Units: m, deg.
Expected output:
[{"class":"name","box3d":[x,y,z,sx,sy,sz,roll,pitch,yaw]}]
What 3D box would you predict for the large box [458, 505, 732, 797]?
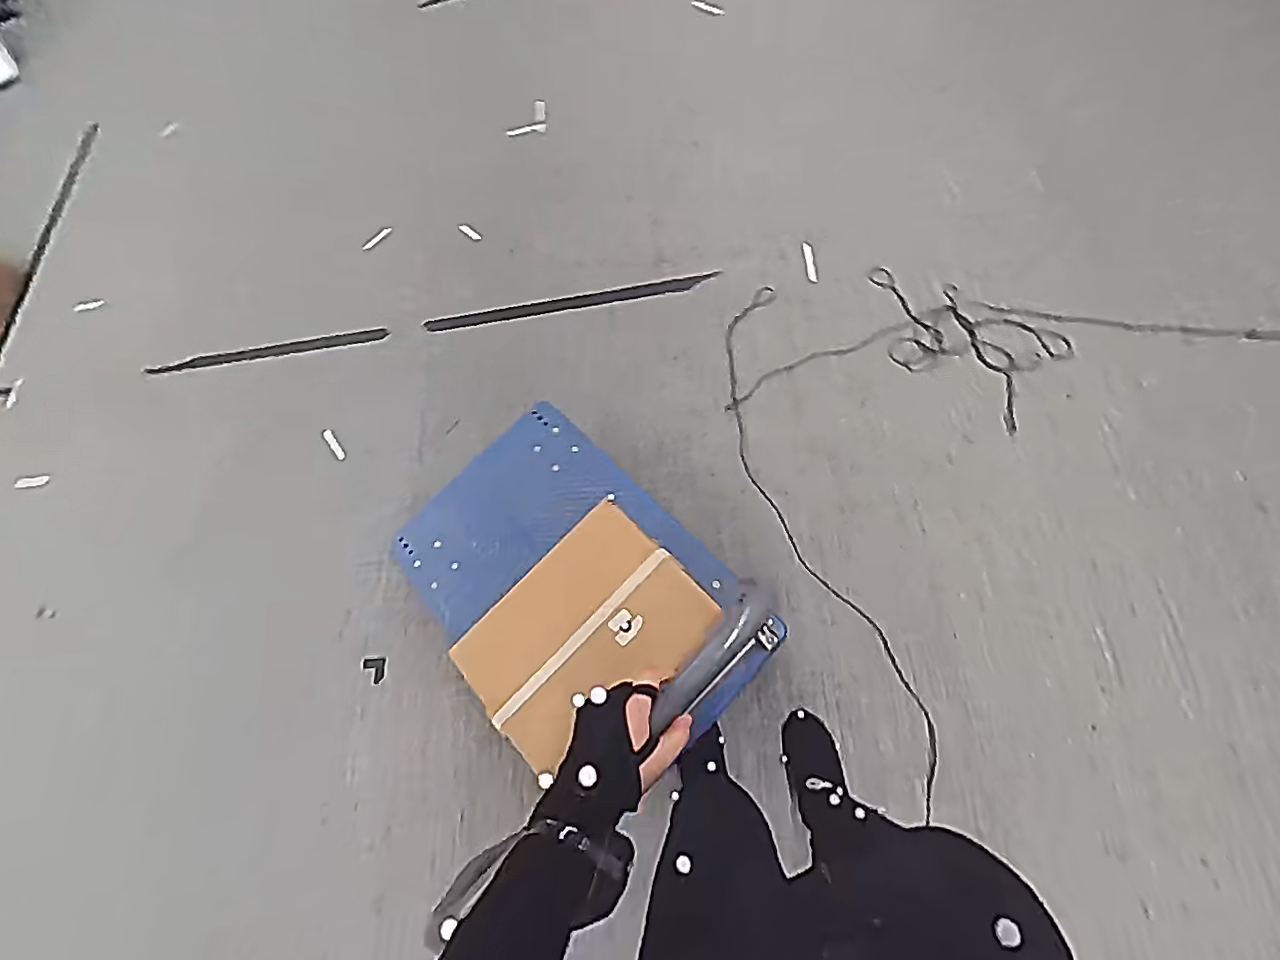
[{"class":"large box","box3d":[-0.065,0.330,1.078,0.408,0.320,0.320,-44,68,-7]}]
